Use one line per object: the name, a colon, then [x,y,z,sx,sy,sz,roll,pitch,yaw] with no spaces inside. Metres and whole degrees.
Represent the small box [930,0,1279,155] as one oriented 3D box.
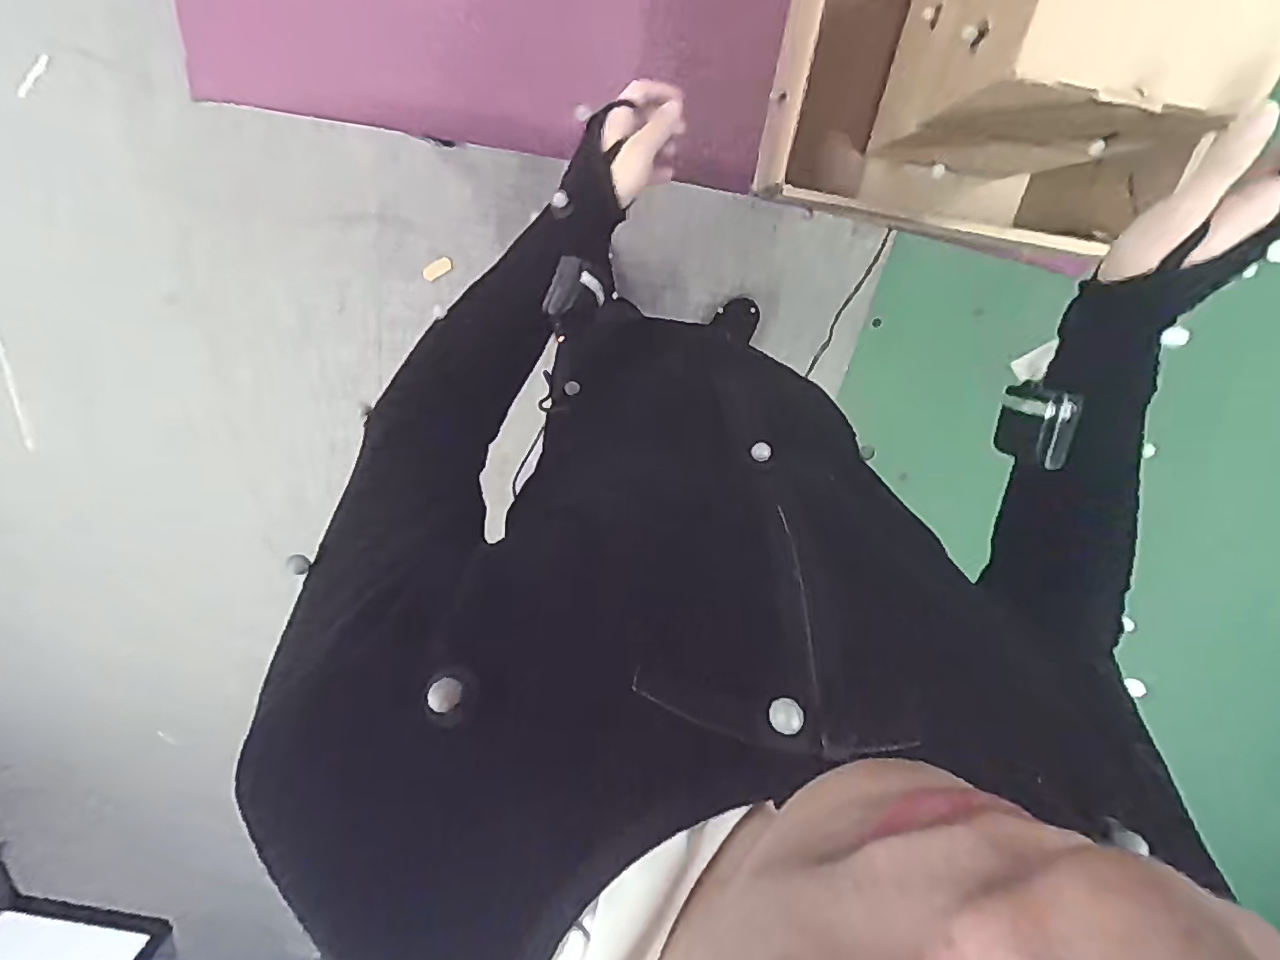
small box: [0.345,-0.359,0.397,0.168,0.176,0.179,12,113,0]
